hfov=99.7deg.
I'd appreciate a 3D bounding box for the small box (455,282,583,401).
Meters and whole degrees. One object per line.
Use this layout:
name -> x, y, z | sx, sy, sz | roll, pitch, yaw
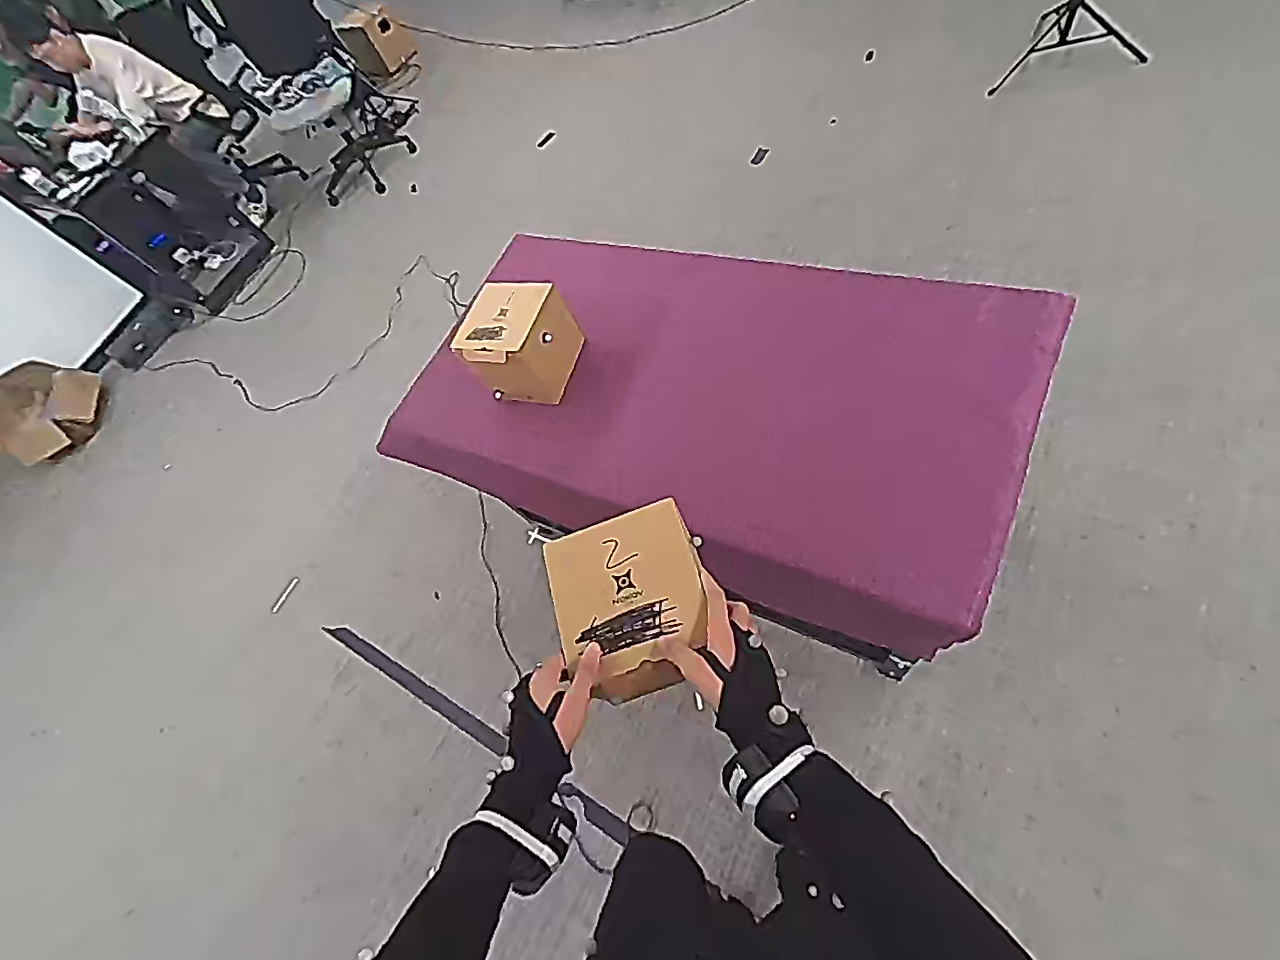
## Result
small box -> -0.236, -0.280, 1.107 | 0.168, 0.176, 0.179 | 9, 66, 22
